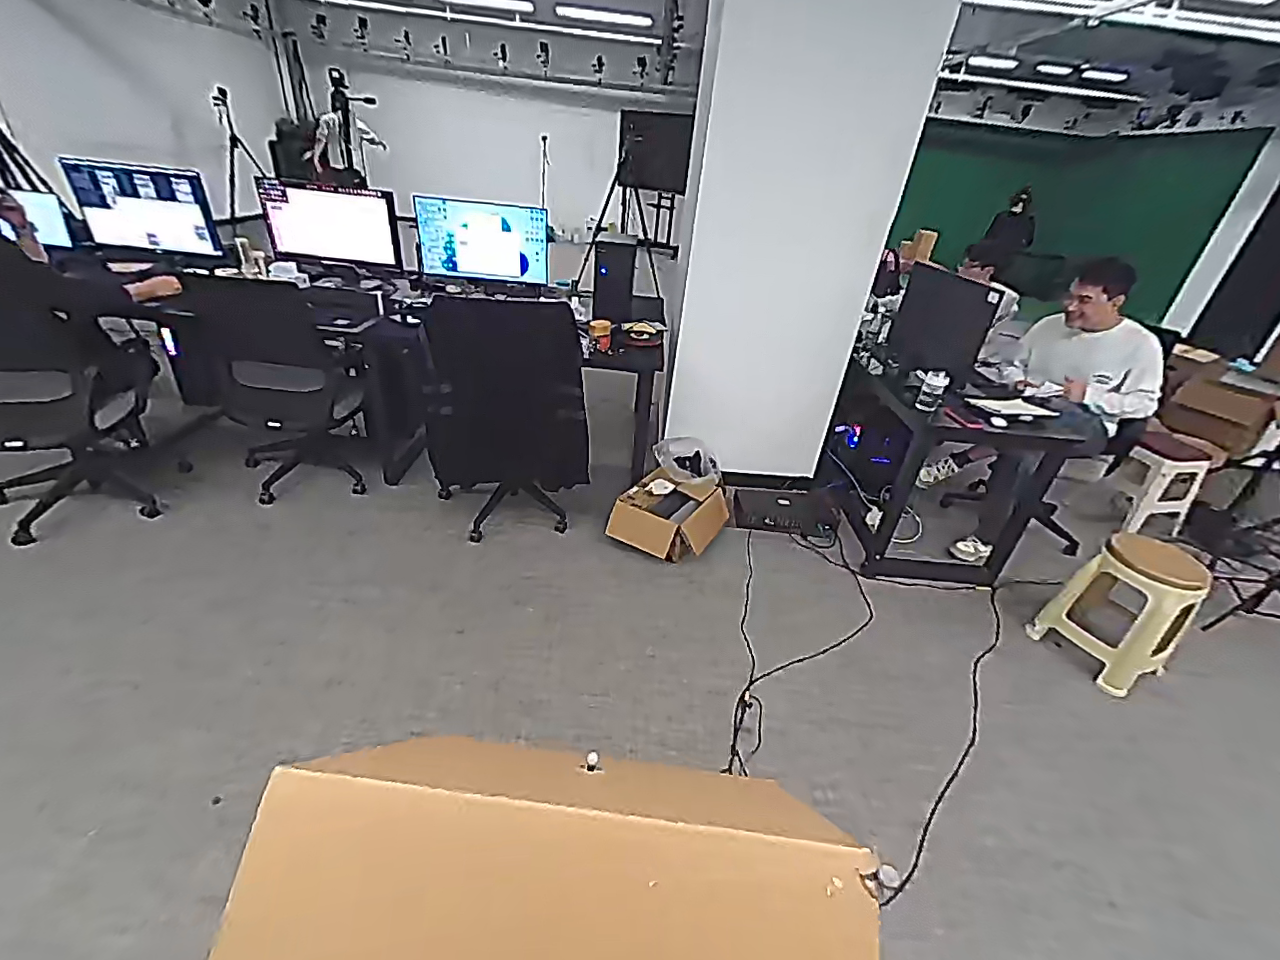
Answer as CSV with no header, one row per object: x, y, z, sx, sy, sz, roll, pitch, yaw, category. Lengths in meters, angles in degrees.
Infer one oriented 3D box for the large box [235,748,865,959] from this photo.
-0.065,0.422,0.451,0.408,0.320,0.320,6,70,3,large box
